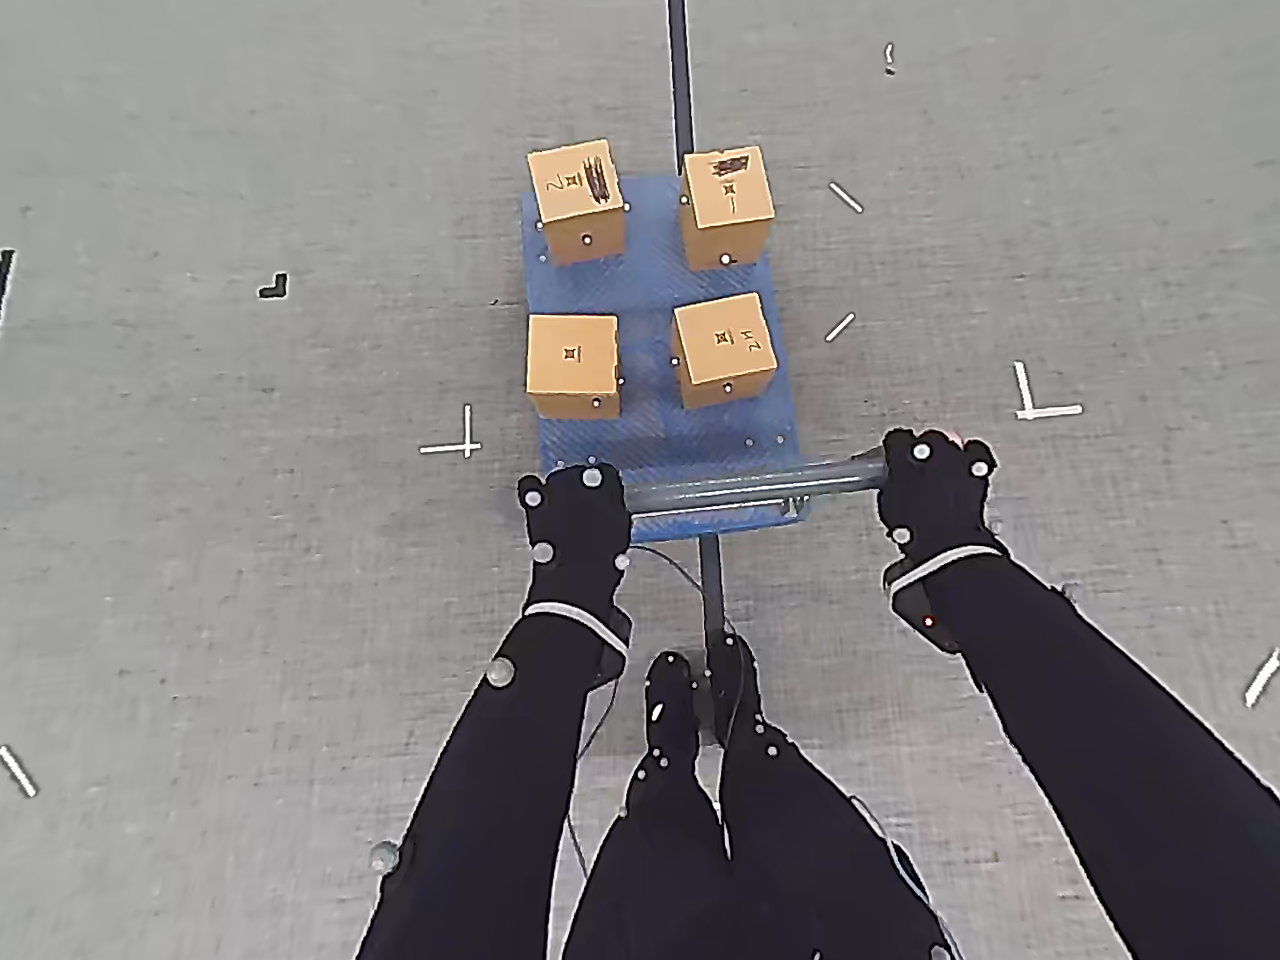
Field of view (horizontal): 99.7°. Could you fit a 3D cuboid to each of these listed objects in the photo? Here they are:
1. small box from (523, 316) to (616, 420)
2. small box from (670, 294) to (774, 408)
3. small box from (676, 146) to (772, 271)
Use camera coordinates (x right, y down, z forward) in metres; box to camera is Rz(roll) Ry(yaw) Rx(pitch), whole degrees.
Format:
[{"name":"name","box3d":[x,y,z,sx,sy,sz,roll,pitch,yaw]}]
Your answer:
[{"name":"small box","box3d":[-0.140,-0.227,1.131,0.179,0.176,0.168,0,79,-2]},{"name":"small box","box3d":[0.162,-0.263,1.141,0.179,0.176,0.168,-12,80,-2]},{"name":"small box","box3d":[0.178,-0.597,1.203,0.168,0.176,0.179,-9,81,-2]}]
